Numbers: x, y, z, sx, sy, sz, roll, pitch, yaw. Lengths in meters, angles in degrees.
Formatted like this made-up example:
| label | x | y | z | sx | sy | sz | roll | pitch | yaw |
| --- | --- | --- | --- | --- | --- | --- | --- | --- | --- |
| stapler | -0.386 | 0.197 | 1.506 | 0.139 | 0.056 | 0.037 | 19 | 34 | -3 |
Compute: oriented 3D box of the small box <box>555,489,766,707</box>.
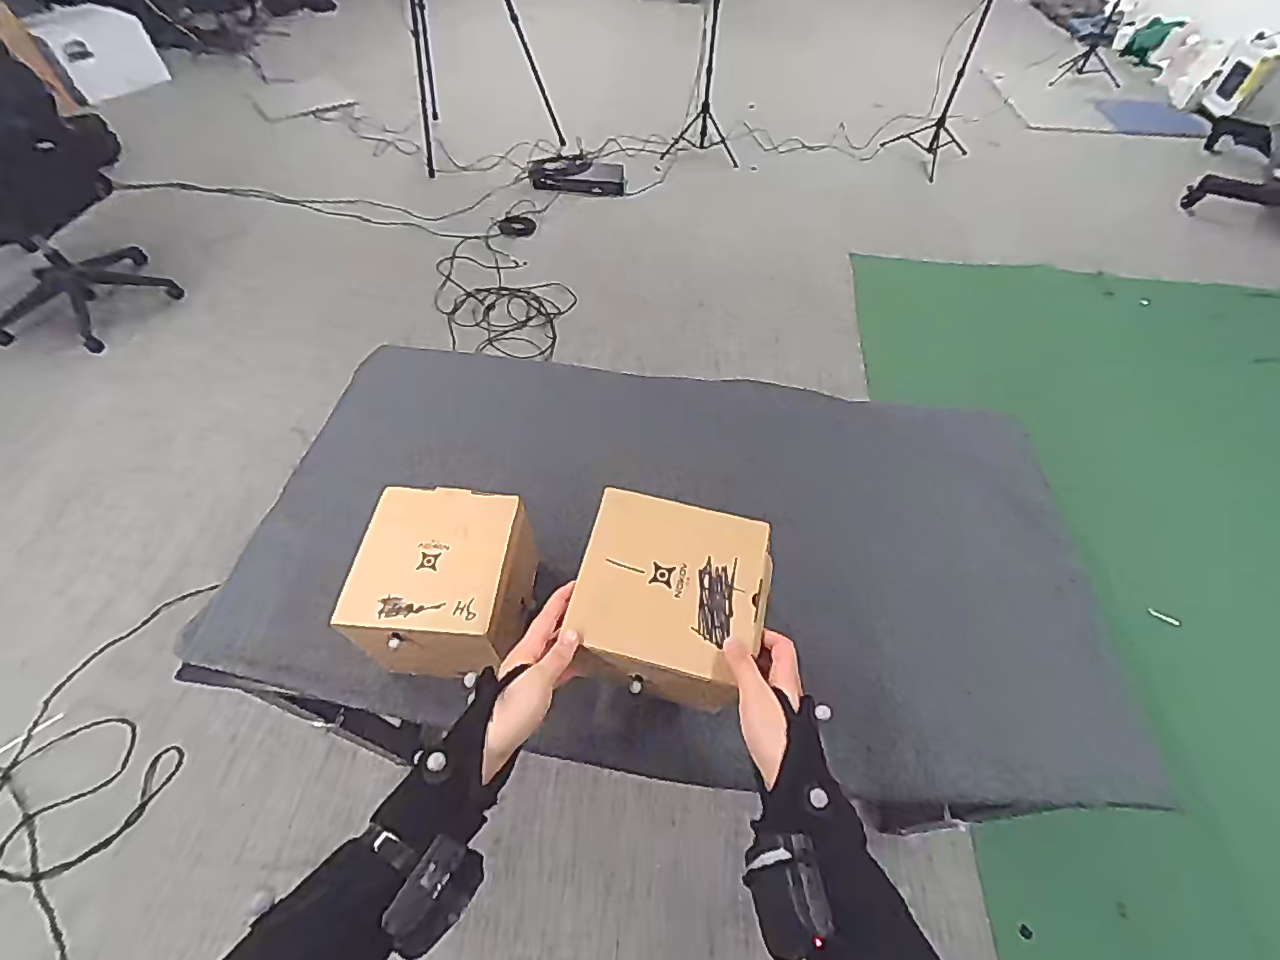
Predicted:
| label | x | y | z | sx | sy | sz | roll | pitch | yaw |
| --- | --- | --- | --- | --- | --- | --- | --- | --- | --- |
| small box | 0.022 | 0.137 | 0.589 | 0.179 | 0.176 | 0.168 | 13 | 60 | 6 |

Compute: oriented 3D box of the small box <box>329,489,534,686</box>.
| label | x | y | z | sx | sy | sz | roll | pitch | yaw |
| --- | --- | --- | --- | --- | --- | --- | --- | --- | --- |
| small box | -0.233 | 0.134 | 0.665 | 0.168 | 0.176 | 0.179 | 4 | 53 | 3 |
